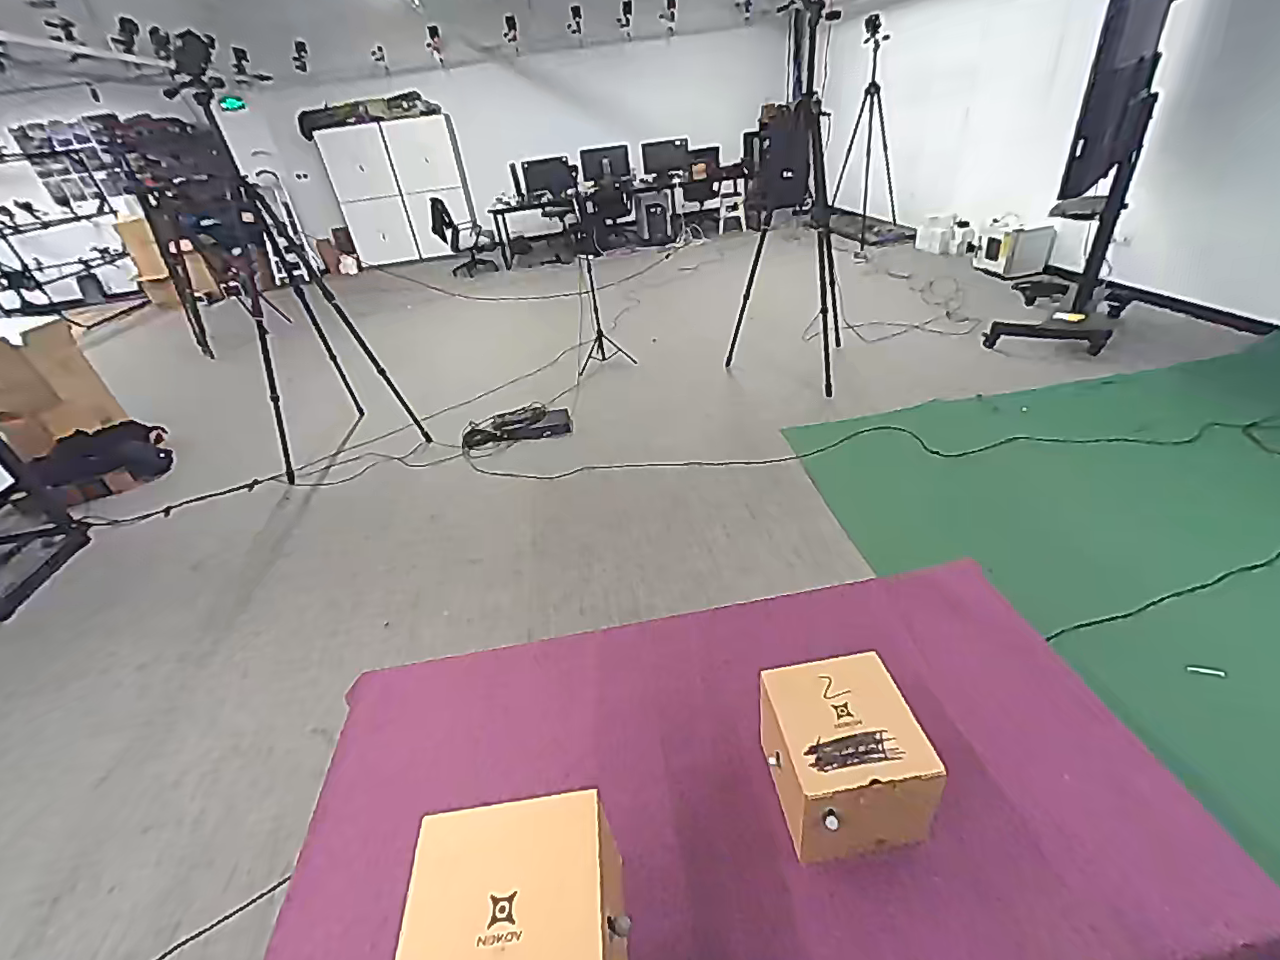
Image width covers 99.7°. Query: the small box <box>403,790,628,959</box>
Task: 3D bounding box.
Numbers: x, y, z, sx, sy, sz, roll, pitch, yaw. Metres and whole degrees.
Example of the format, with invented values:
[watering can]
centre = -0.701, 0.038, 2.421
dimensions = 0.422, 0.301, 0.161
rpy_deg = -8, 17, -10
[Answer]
[small box]
centre = -0.103, 0.424, 0.499
dimensions = 0.168, 0.176, 0.179
rpy_deg = -9, 38, -1
